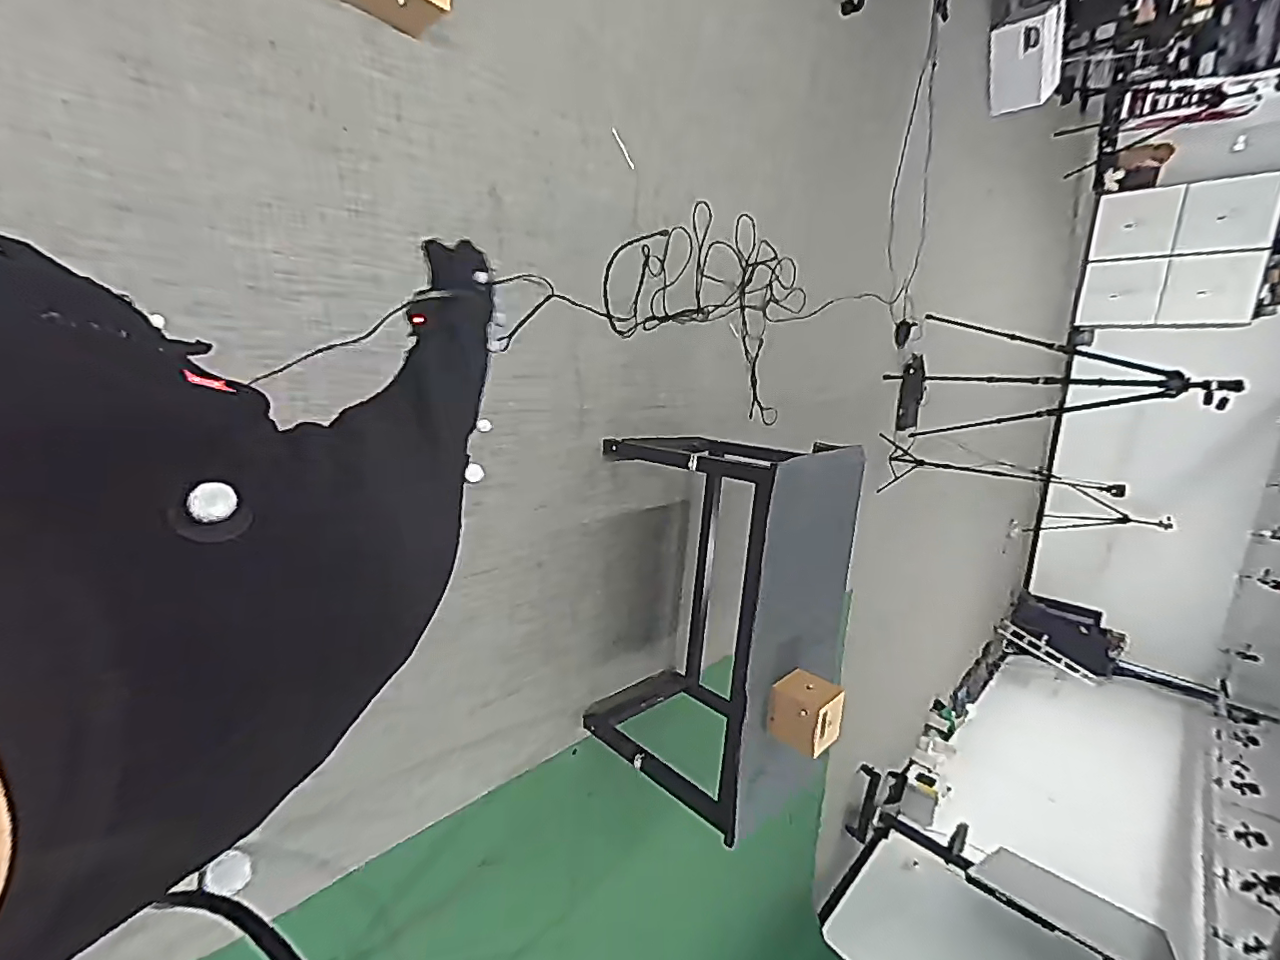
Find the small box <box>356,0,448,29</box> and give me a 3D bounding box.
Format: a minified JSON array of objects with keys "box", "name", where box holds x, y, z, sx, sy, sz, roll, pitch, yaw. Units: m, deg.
[{"box":[-0.542,-1.155,1.202,0.179,0.176,0.168,-2,103,-44],"name":"small box"}]
